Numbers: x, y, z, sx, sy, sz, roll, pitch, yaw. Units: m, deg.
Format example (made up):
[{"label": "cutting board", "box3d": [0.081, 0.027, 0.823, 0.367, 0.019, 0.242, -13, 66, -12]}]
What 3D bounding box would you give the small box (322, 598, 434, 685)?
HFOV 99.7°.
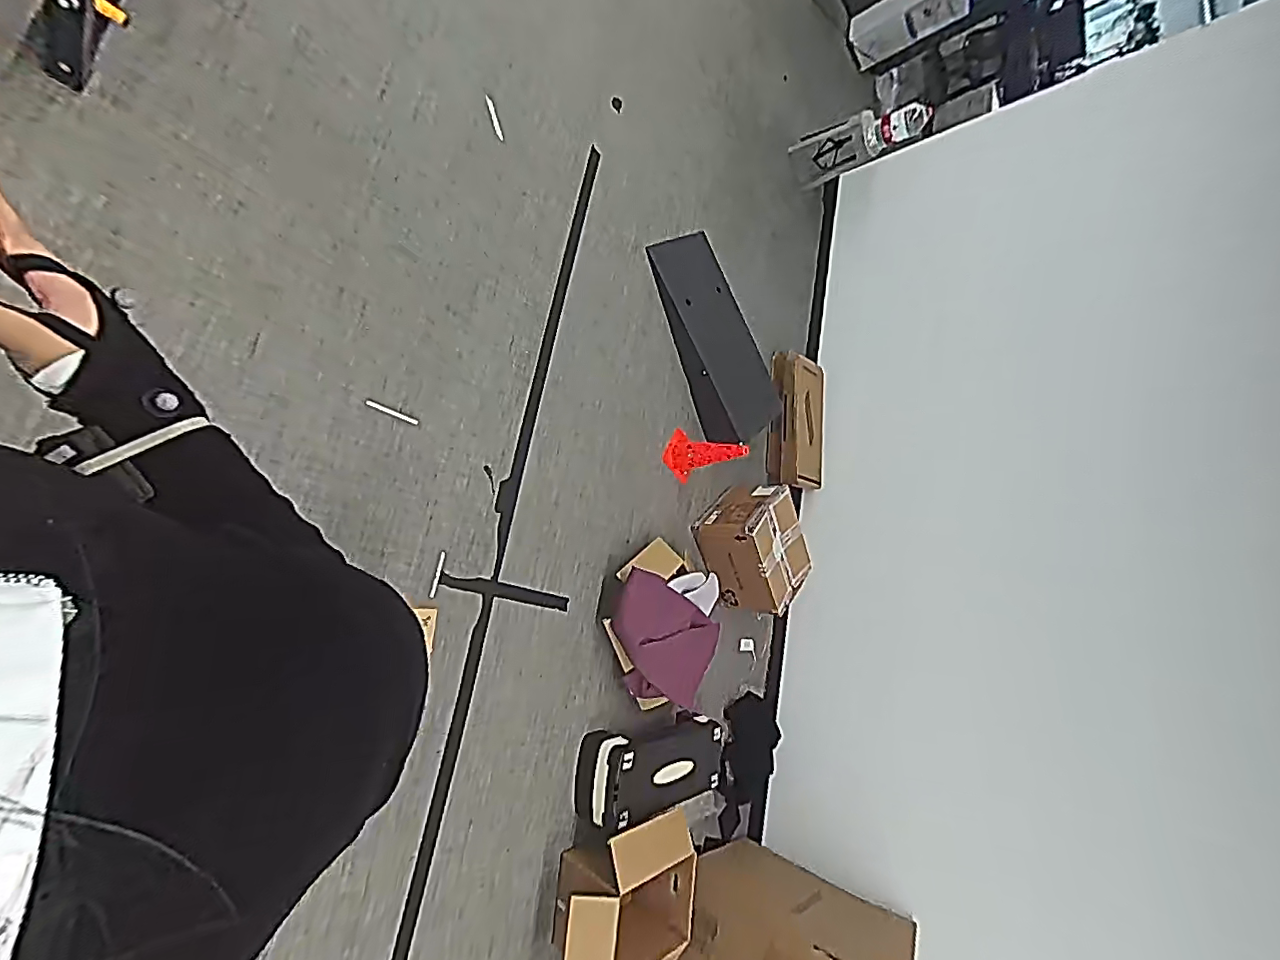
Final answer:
[{"label": "small box", "box3d": [-0.612, 0.369, 1.257, 0.179, 0.176, 0.168, 15, 78, -46]}]
